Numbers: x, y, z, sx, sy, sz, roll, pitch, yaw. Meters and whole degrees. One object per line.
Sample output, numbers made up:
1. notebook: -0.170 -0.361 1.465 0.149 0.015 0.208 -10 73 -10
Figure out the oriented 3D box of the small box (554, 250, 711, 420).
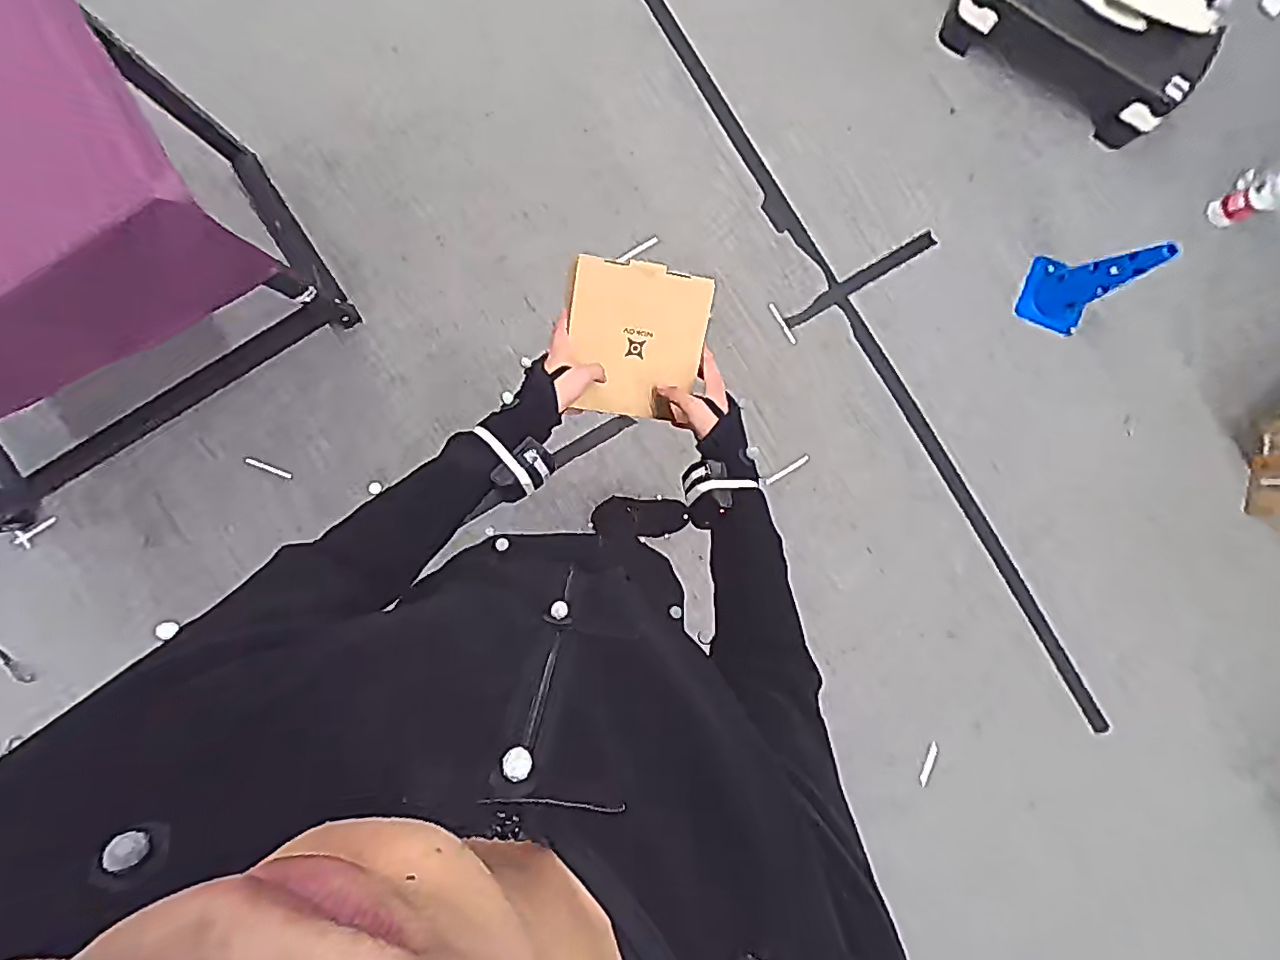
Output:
1. small box: -0.021 -0.189 0.711 0.168 0.176 0.179 6 107 -11
